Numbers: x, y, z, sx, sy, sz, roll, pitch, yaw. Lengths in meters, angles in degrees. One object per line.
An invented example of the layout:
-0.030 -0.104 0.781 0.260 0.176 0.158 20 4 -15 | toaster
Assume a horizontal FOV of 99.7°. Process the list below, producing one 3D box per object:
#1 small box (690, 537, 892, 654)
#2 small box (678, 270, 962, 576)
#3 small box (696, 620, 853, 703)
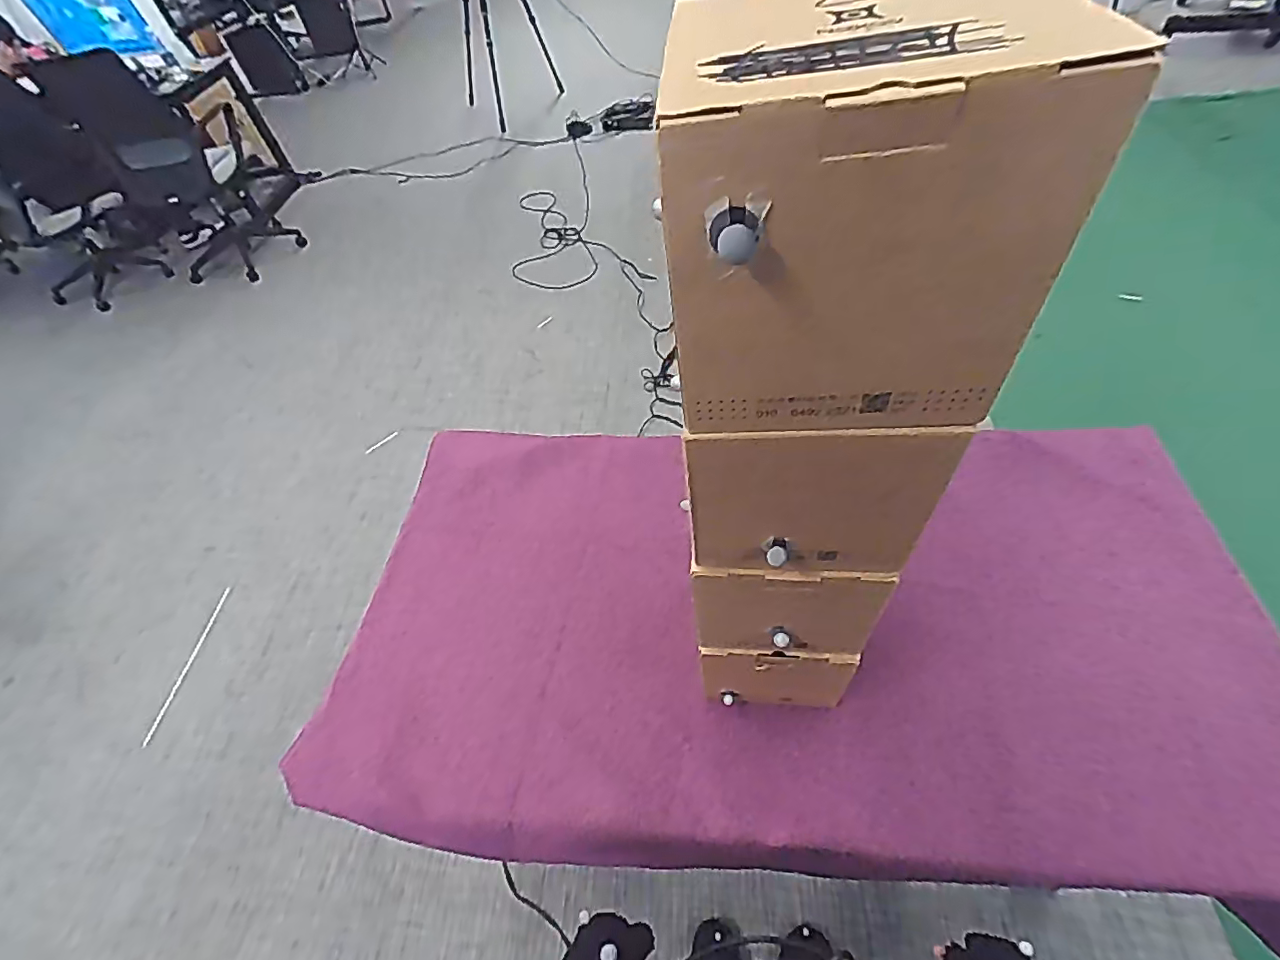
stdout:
0.141 0.060 0.558 0.168 0.176 0.179 0 53 10 | small box
0.122 -0.043 0.433 0.168 0.176 0.179 0 53 10 | small box
0.162 0.167 0.681 0.168 0.176 0.179 1 52 10 | small box
